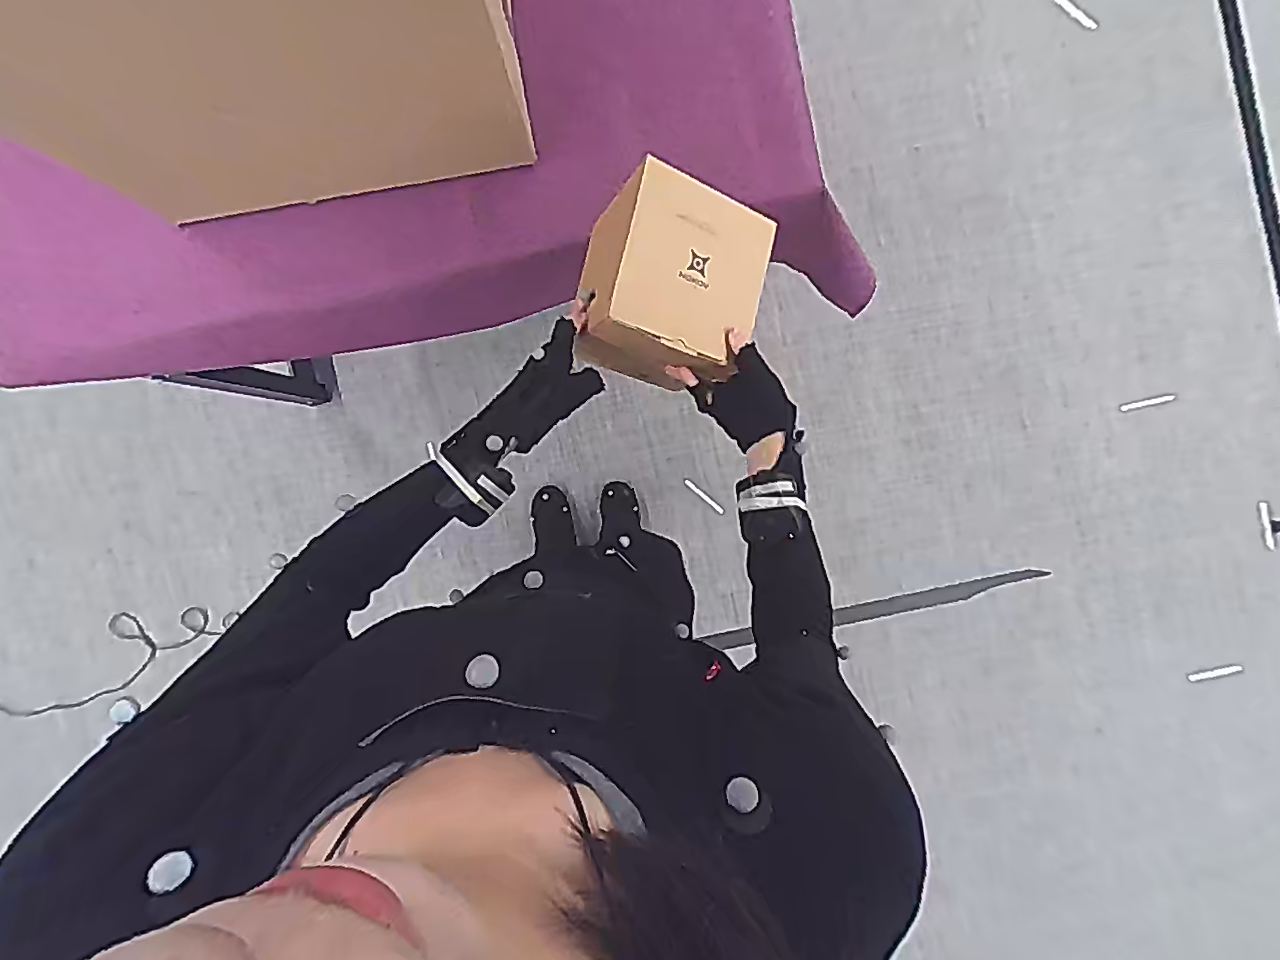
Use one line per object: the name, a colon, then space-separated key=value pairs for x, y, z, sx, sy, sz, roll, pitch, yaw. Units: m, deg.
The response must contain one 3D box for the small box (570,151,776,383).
small box: x=0.028 y=-0.226 z=0.634 sx=0.168 sy=0.176 sz=0.179 roll=15 pitch=84 yaw=-24
